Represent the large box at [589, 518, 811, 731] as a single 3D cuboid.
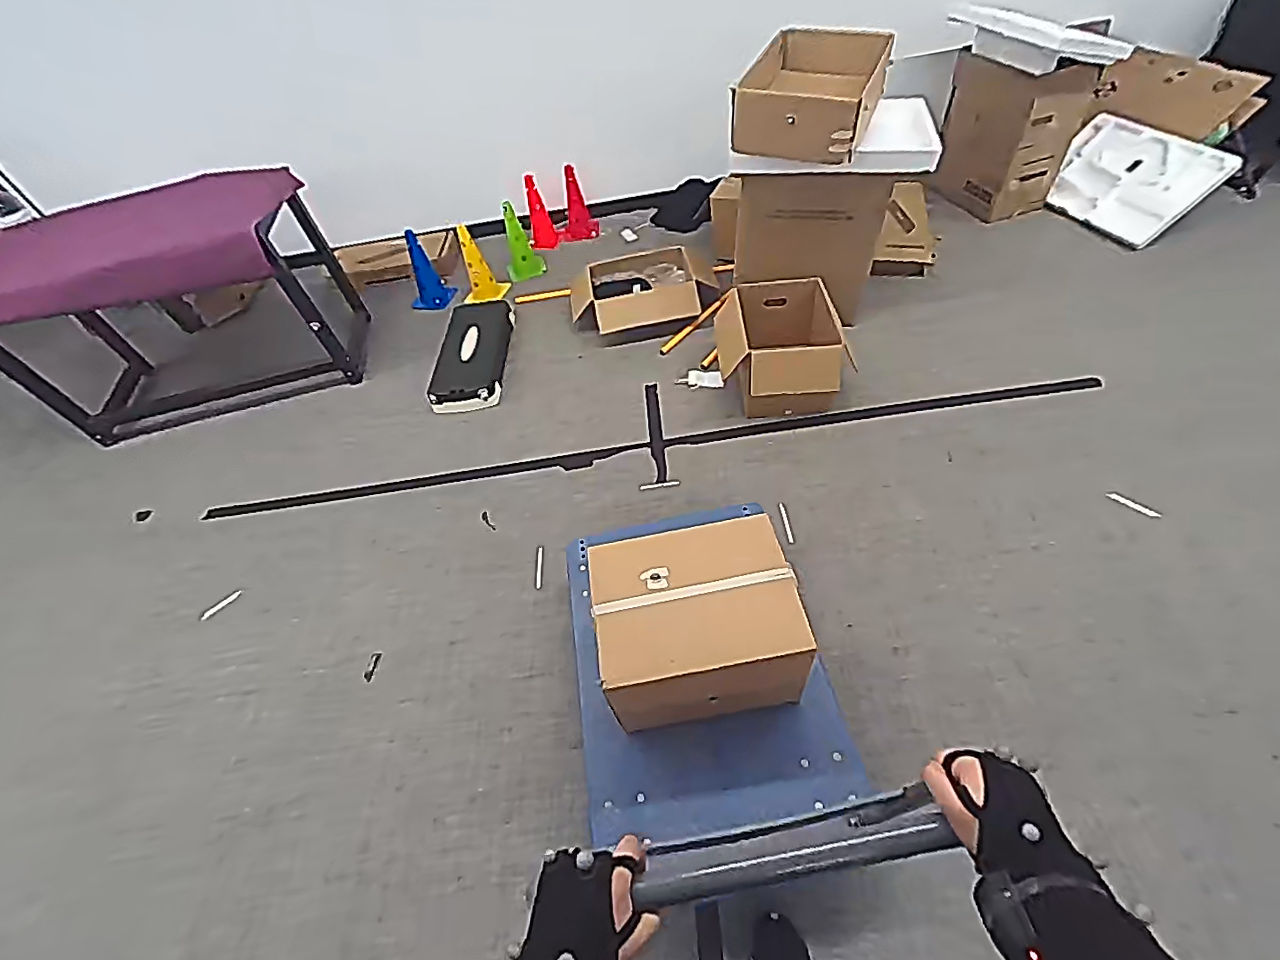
[{"bbox_3d":[0.126,0.332,1.221,0.408,0.320,0.320,-12,50,0],"label":"large box"}]
